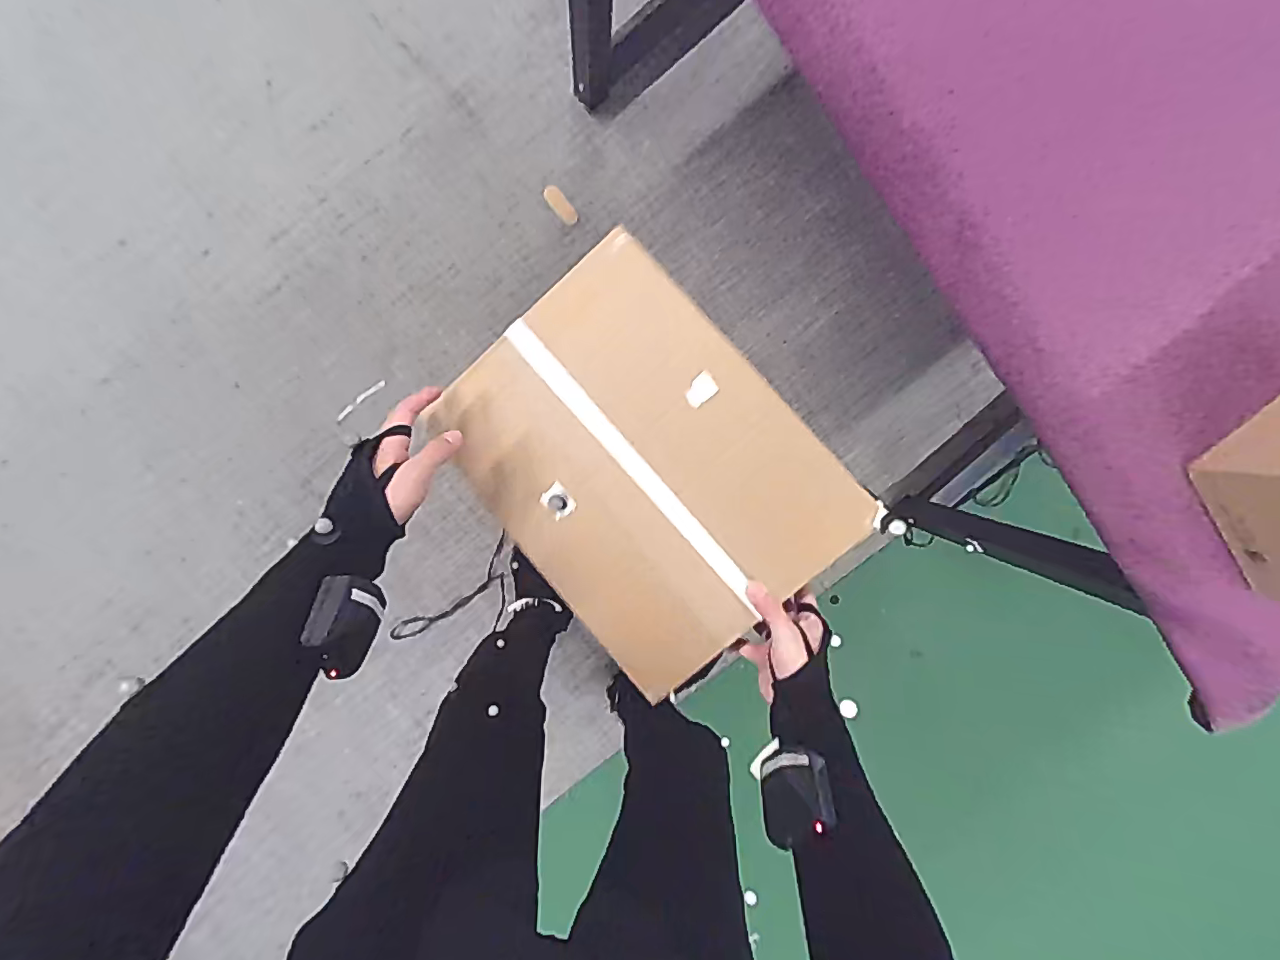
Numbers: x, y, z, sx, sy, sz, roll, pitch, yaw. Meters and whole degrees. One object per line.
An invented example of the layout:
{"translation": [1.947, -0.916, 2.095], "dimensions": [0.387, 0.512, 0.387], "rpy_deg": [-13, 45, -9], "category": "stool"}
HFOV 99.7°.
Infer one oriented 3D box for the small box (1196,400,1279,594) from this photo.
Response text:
{"translation": [0.650, 0.006, 0.453], "dimensions": [0.179, 0.176, 0.168], "rpy_deg": [-37, 98, -2], "category": "small box"}
